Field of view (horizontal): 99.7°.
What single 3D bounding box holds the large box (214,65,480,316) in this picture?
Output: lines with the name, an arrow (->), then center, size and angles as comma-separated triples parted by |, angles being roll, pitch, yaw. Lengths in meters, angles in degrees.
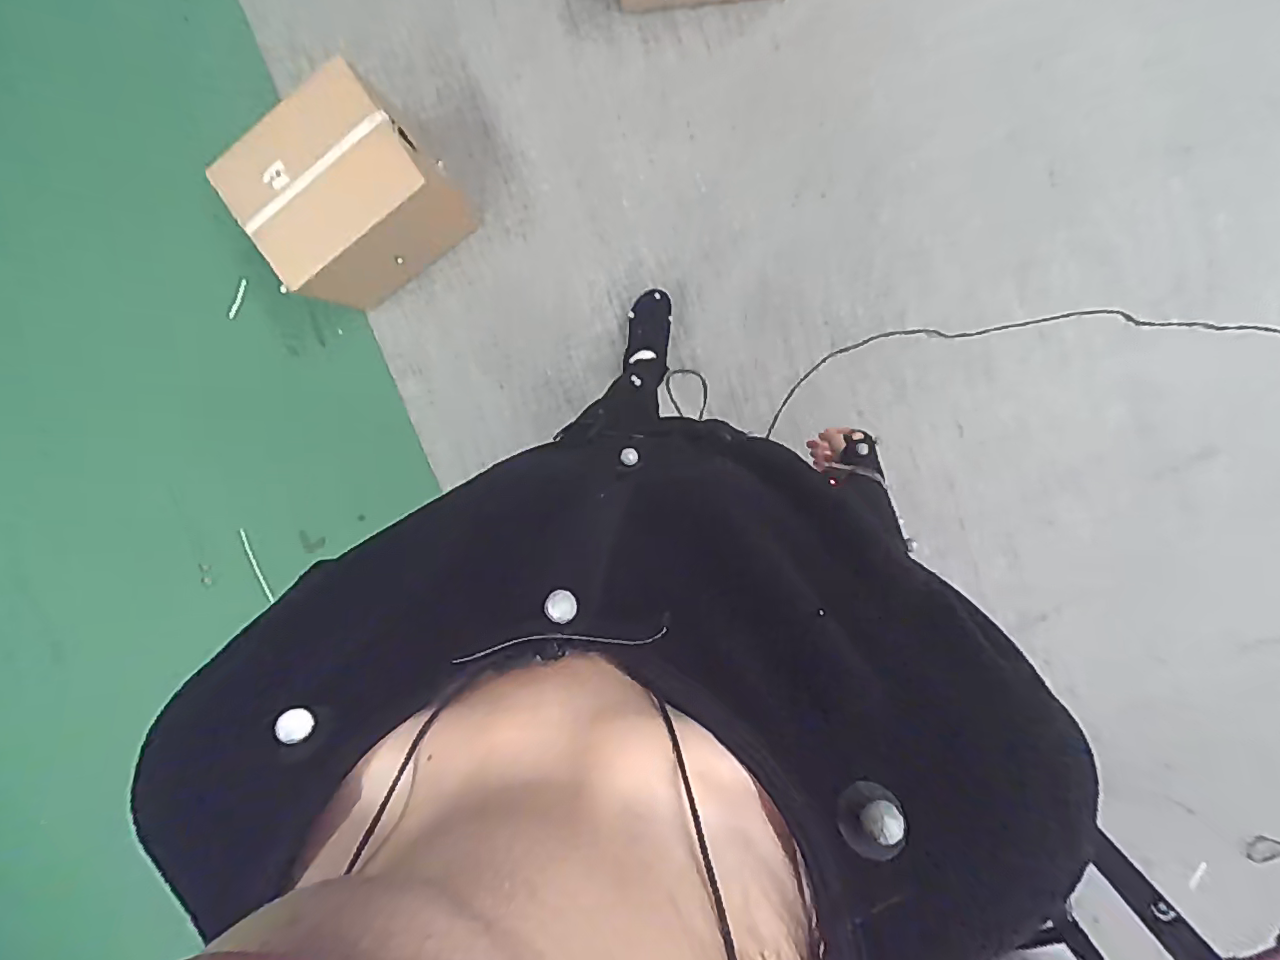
large box -> -0.679, -0.657, 1.312 | 0.408, 0.320, 0.320 | -33, 94, 10
